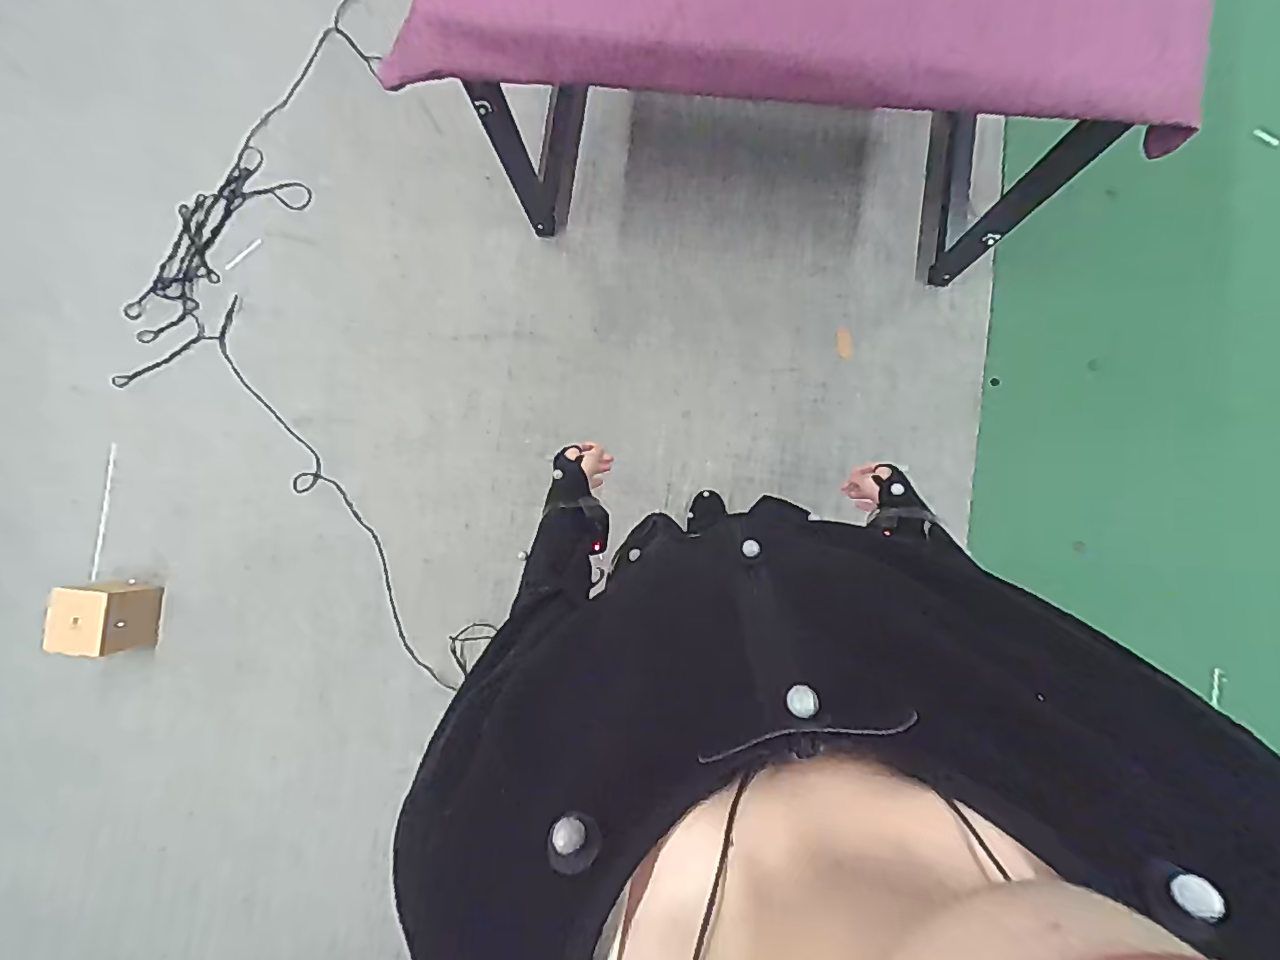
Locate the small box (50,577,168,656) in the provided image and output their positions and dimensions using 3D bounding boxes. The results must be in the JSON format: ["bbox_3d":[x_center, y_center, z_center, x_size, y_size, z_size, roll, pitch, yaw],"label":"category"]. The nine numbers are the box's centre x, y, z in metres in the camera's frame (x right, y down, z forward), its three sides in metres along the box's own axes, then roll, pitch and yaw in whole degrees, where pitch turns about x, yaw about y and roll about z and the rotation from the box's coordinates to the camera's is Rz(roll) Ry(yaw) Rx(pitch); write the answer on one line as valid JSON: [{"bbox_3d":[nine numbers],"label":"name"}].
[{"bbox_3d":[-1.500,0.382,1.538,0.168,0.176,0.179,6,87,4],"label":"small box"}]
